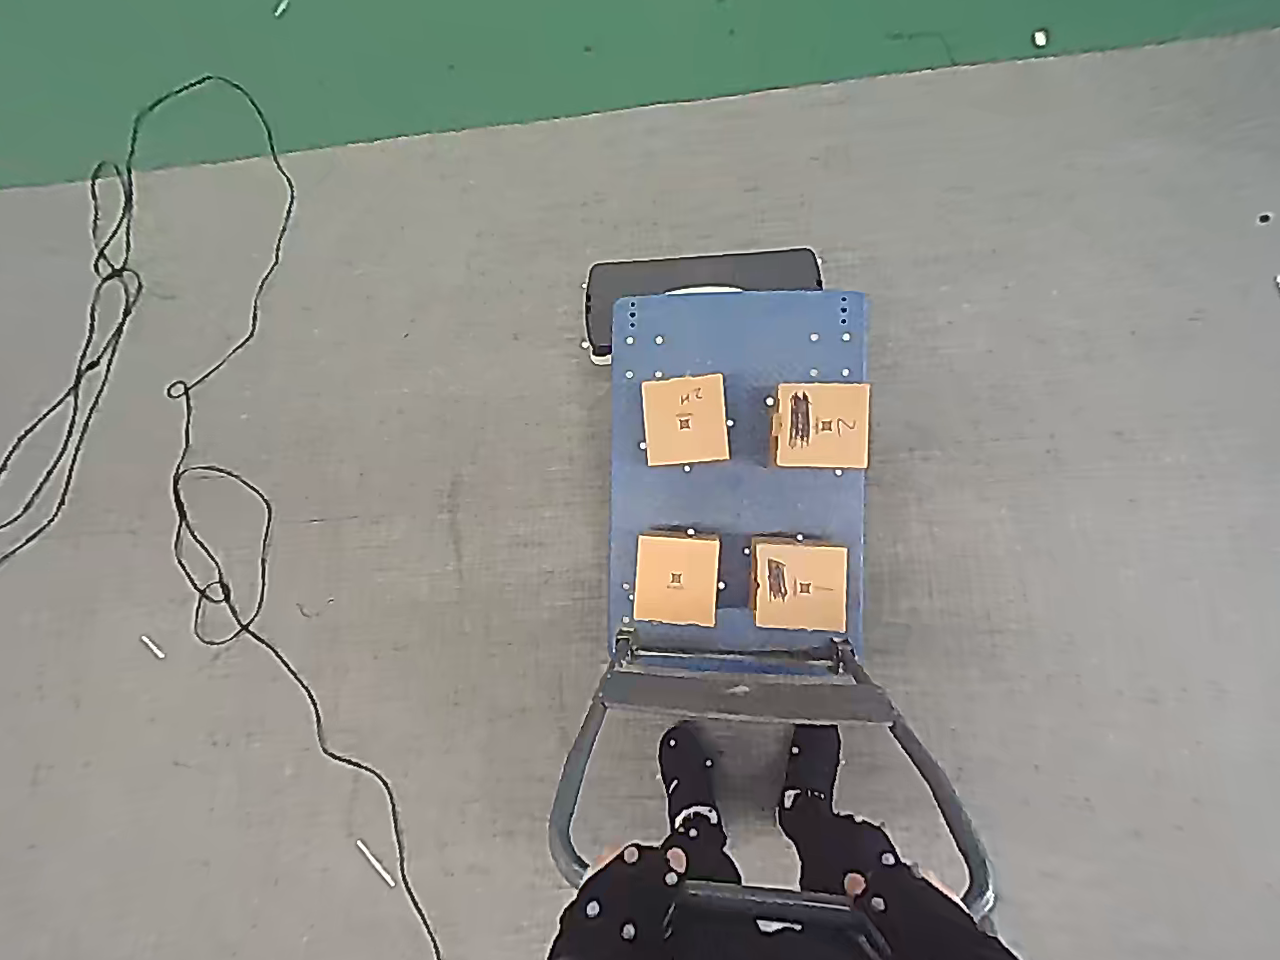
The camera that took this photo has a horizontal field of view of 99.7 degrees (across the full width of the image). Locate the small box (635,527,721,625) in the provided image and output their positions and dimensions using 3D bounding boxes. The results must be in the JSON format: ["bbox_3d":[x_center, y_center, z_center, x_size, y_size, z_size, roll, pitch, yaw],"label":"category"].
[{"bbox_3d":[0.083,0.199,1.170,0.168,0.176,0.179,4,91,6],"label":"small box"}]

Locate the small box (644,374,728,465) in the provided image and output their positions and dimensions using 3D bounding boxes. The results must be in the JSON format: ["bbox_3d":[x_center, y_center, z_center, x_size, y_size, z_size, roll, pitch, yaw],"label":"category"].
[{"bbox_3d":[0.103,-0.123,1.170,0.168,0.176,0.179,-4,89,6],"label":"small box"}]
